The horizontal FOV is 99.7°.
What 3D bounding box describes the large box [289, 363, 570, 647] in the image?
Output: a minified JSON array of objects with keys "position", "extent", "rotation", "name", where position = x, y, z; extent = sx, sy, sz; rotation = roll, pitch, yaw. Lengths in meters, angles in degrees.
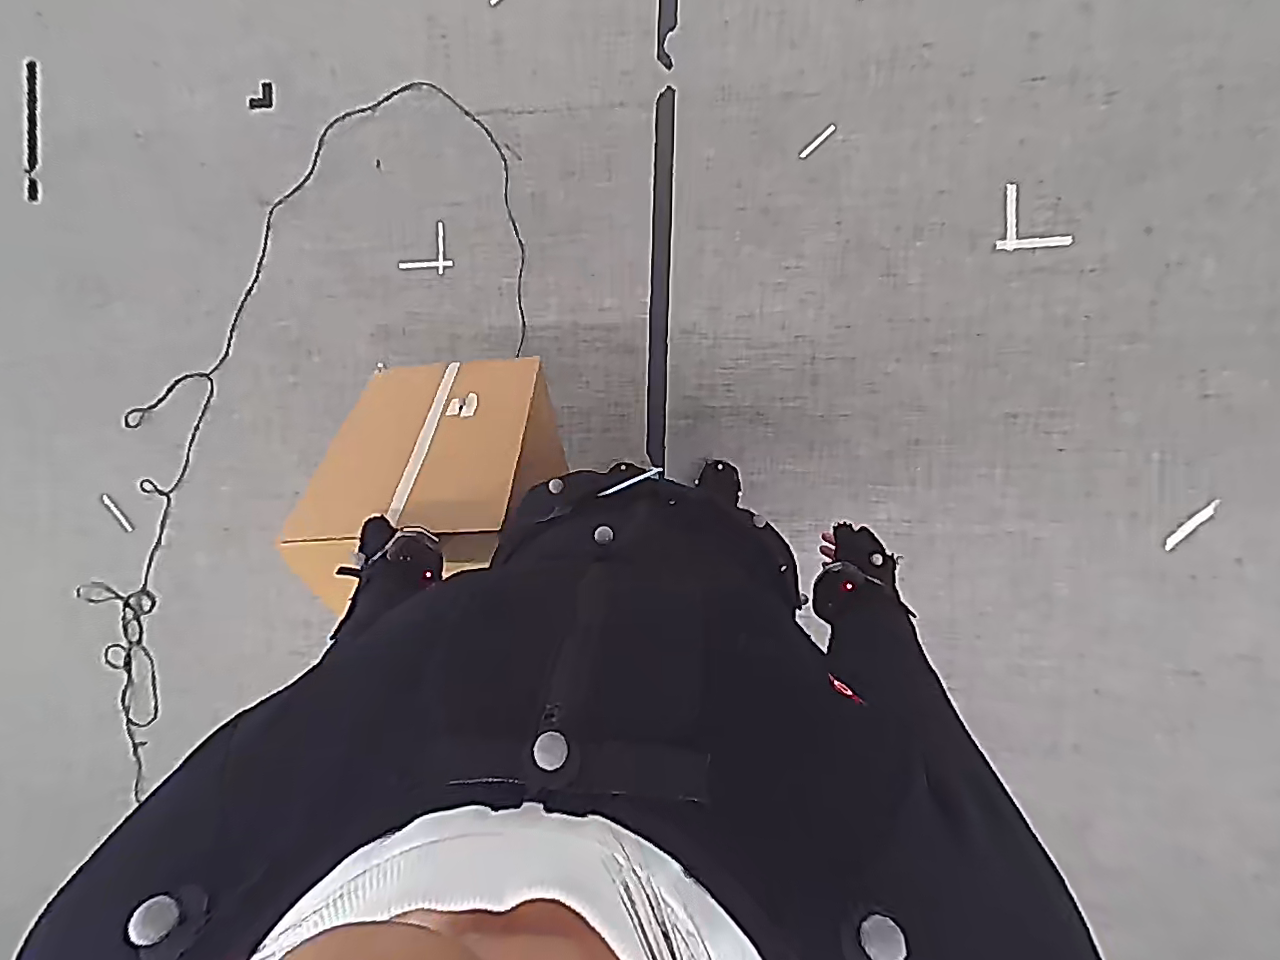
[{"position":[-0.320,0.041,0.972],"extent":[0.320,0.408,0.320],"rotation":[-3,135,4],"name":"large box"}]
